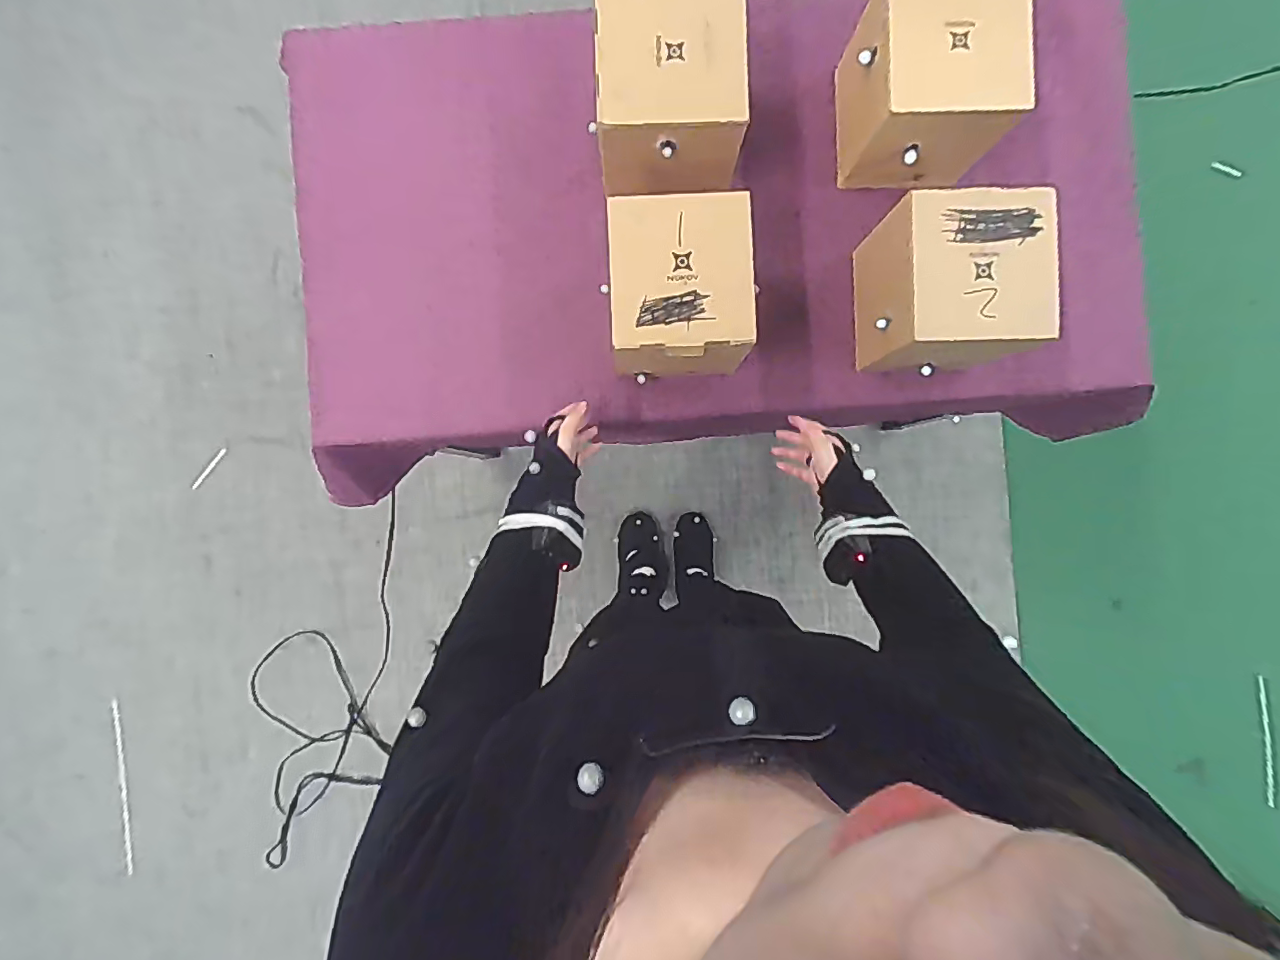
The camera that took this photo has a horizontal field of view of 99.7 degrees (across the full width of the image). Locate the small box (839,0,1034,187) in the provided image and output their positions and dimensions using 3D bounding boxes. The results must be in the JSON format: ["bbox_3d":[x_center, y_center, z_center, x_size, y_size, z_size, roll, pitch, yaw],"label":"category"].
[{"bbox_3d":[0.365,-0.501,0.694,0.168,0.176,0.179,-1,88,1],"label":"small box"}]

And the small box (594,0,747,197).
[{"bbox_3d":[0.037,-0.486,0.699,0.179,0.176,0.168,-1,90,0],"label":"small box"}]

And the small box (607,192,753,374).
[{"bbox_3d":[0.048,-0.236,0.693,0.168,0.176,0.179,-2,88,1],"label":"small box"}]
